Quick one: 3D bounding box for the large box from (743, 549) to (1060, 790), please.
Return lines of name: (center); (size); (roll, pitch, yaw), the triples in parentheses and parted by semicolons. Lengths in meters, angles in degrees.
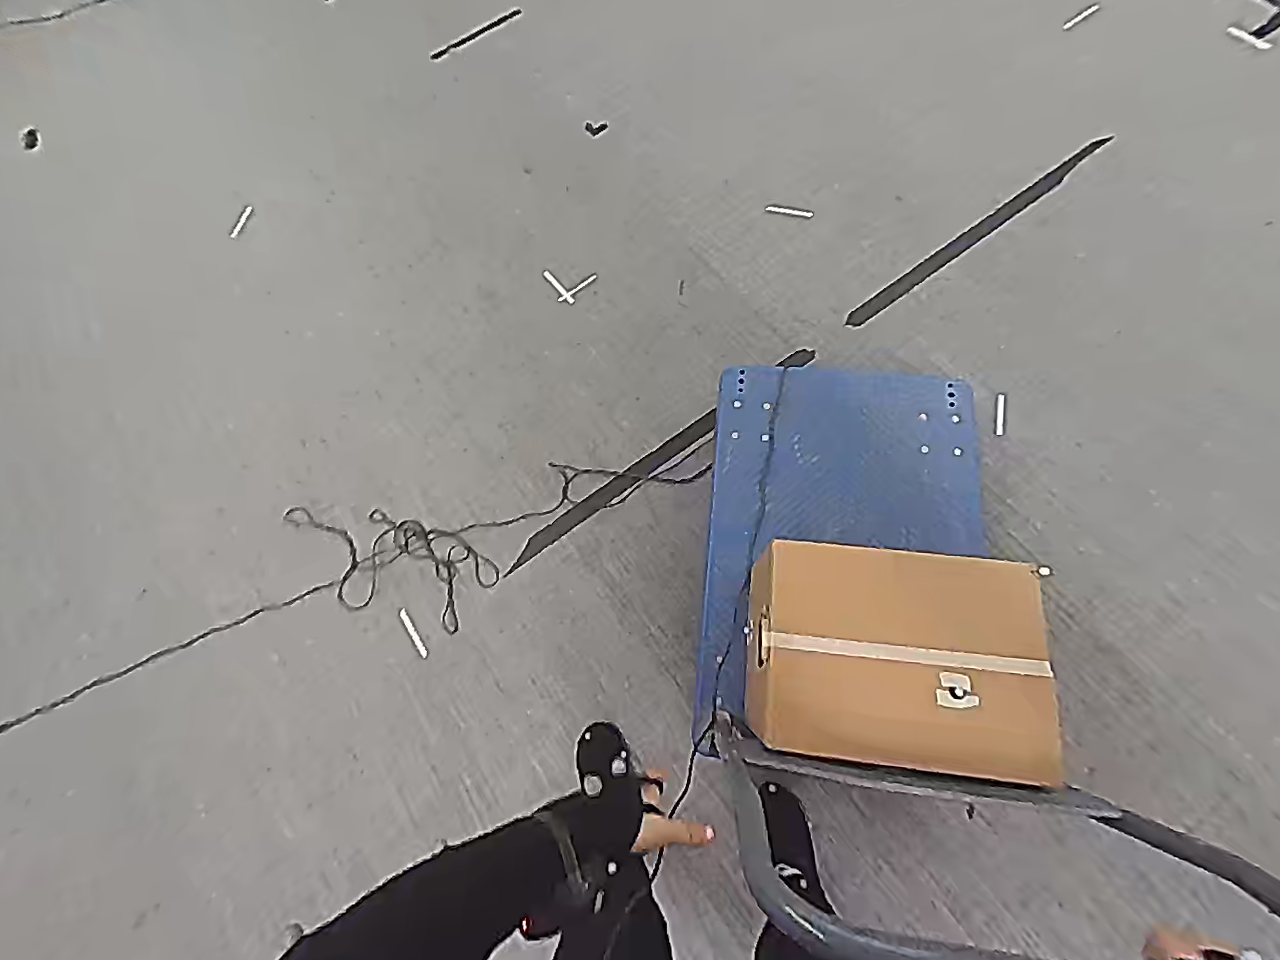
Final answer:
large box: (0.397, 0.314, 0.938); (0.408, 0.320, 0.320); (4, 72, 5)
